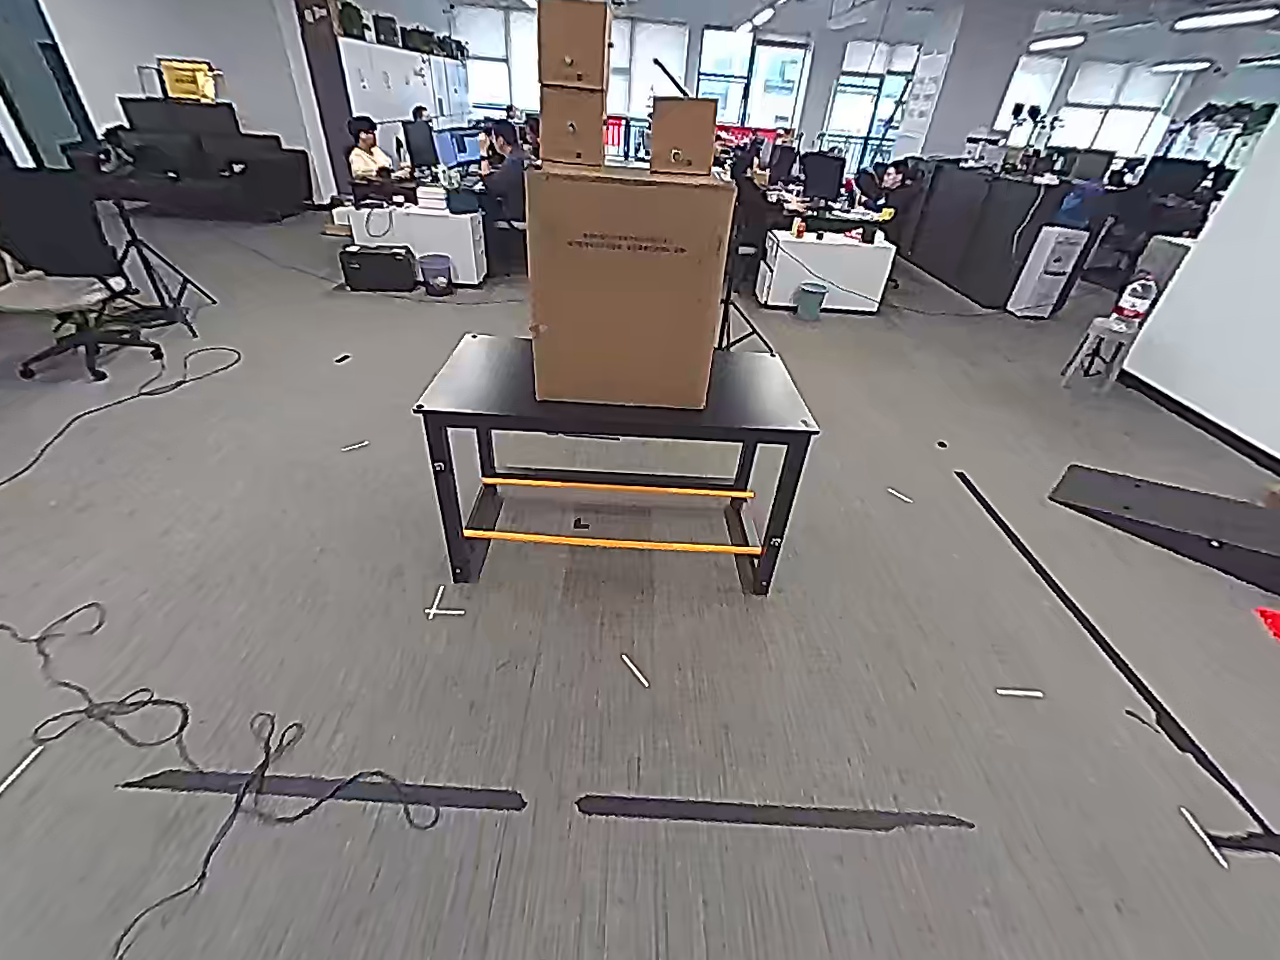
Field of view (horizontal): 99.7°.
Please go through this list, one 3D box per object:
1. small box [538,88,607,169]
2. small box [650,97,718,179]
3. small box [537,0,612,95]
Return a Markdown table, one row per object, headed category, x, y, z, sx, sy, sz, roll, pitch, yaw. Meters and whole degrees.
| category | x | y | z | sx | sy | sz | roll | pitch | yaw |
| --- | --- | --- | --- | --- | --- | --- | --- | --- | --- |
| small box | -0.179 | -0.954 | 1.466 | 0.168 | 0.176 | 0.179 | 4 | 35 | -3 |
| small box | 0.113 | -0.912 | 1.440 | 0.168 | 0.176 | 0.179 | 2 | 35 | 1 |
| small box | -0.162 | -1.079 | 1.358 | 0.168 | 0.176 | 0.179 | 4 | 35 | -2 |
